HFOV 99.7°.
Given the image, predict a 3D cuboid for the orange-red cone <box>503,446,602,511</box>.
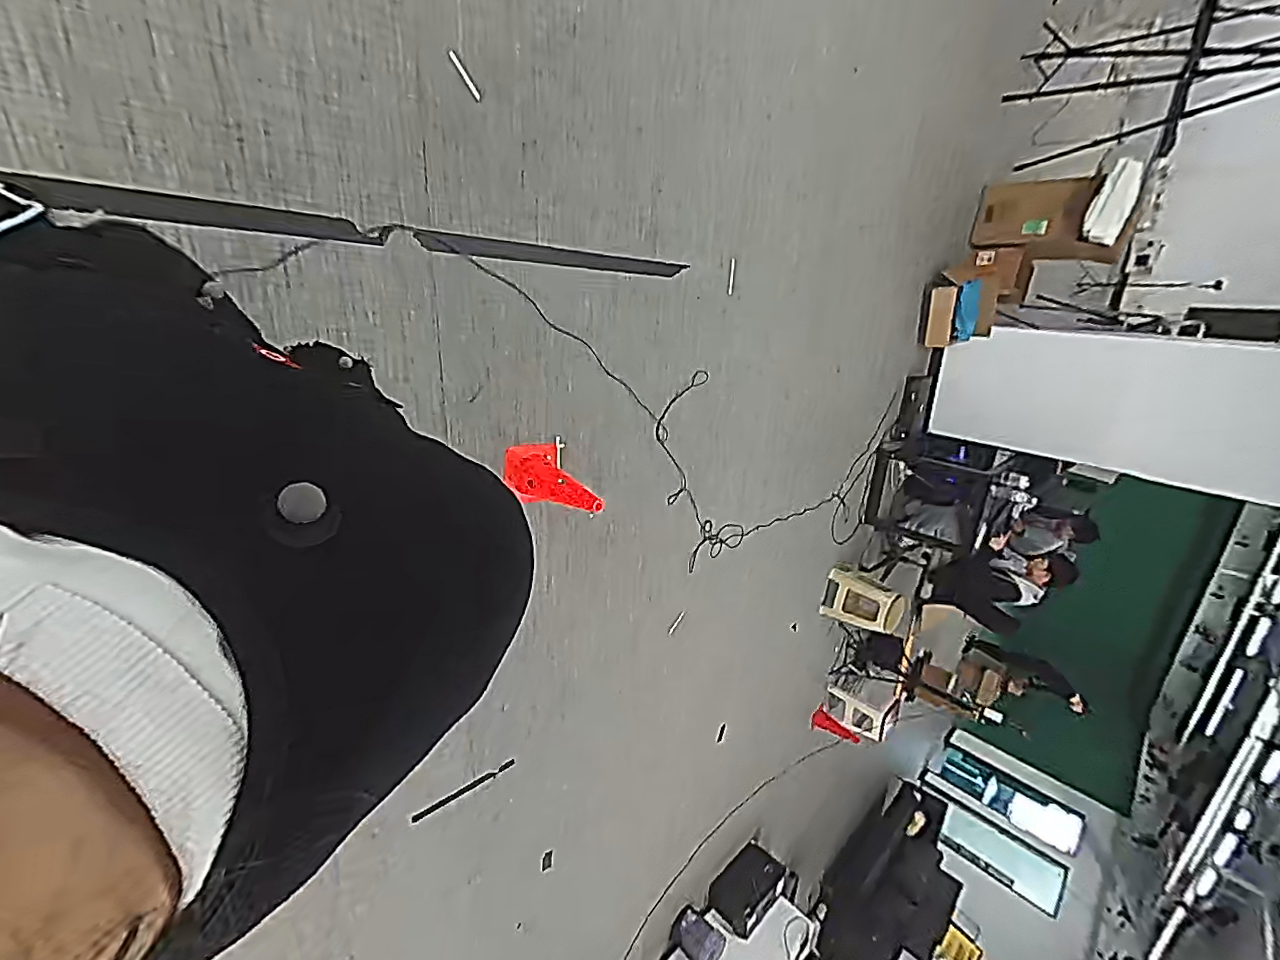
[{"bbox_3d":[-0.243,0.028,1.663,0.199,0.360,0.198,-5,108,-44],"label":"orange-red cone"}]
